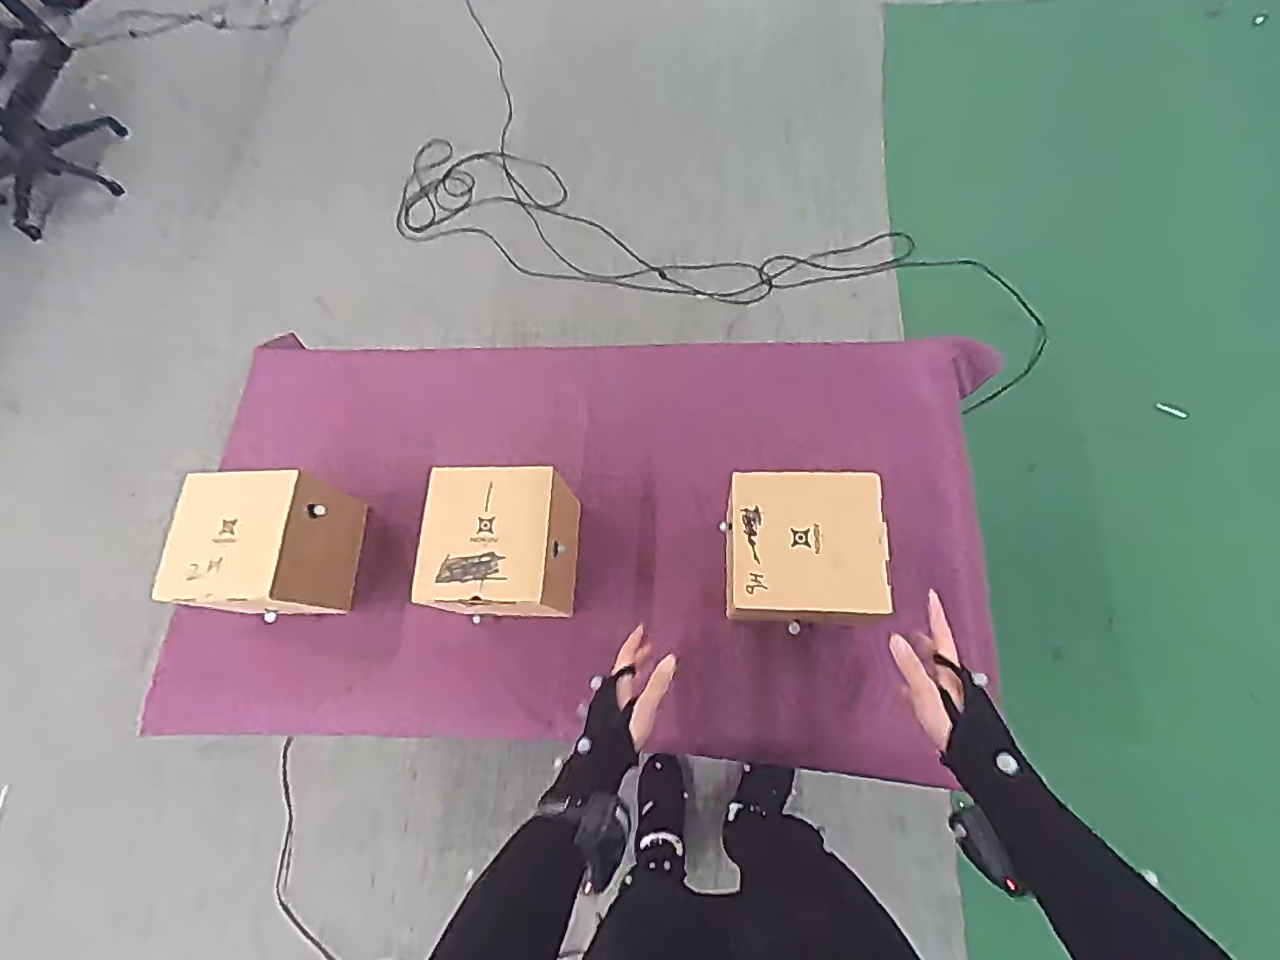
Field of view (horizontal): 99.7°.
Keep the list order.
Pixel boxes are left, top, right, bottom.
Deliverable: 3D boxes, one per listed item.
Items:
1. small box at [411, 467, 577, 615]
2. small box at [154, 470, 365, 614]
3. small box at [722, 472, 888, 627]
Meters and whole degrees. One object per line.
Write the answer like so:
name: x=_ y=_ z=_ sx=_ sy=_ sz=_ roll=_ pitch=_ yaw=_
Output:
small box: x=-0.187 y=0.092 z=0.750 sx=0.168 sy=0.176 sz=0.179 roll=0 pitch=70 yaw=6
small box: x=-0.533 y=0.096 z=0.787 sx=0.168 sy=0.176 sz=0.179 roll=-1 pitch=71 yaw=6
small box: x=0.200 y=0.097 z=0.702 sx=0.179 sy=0.176 sz=0.168 roll=1 pitch=70 yaw=7
